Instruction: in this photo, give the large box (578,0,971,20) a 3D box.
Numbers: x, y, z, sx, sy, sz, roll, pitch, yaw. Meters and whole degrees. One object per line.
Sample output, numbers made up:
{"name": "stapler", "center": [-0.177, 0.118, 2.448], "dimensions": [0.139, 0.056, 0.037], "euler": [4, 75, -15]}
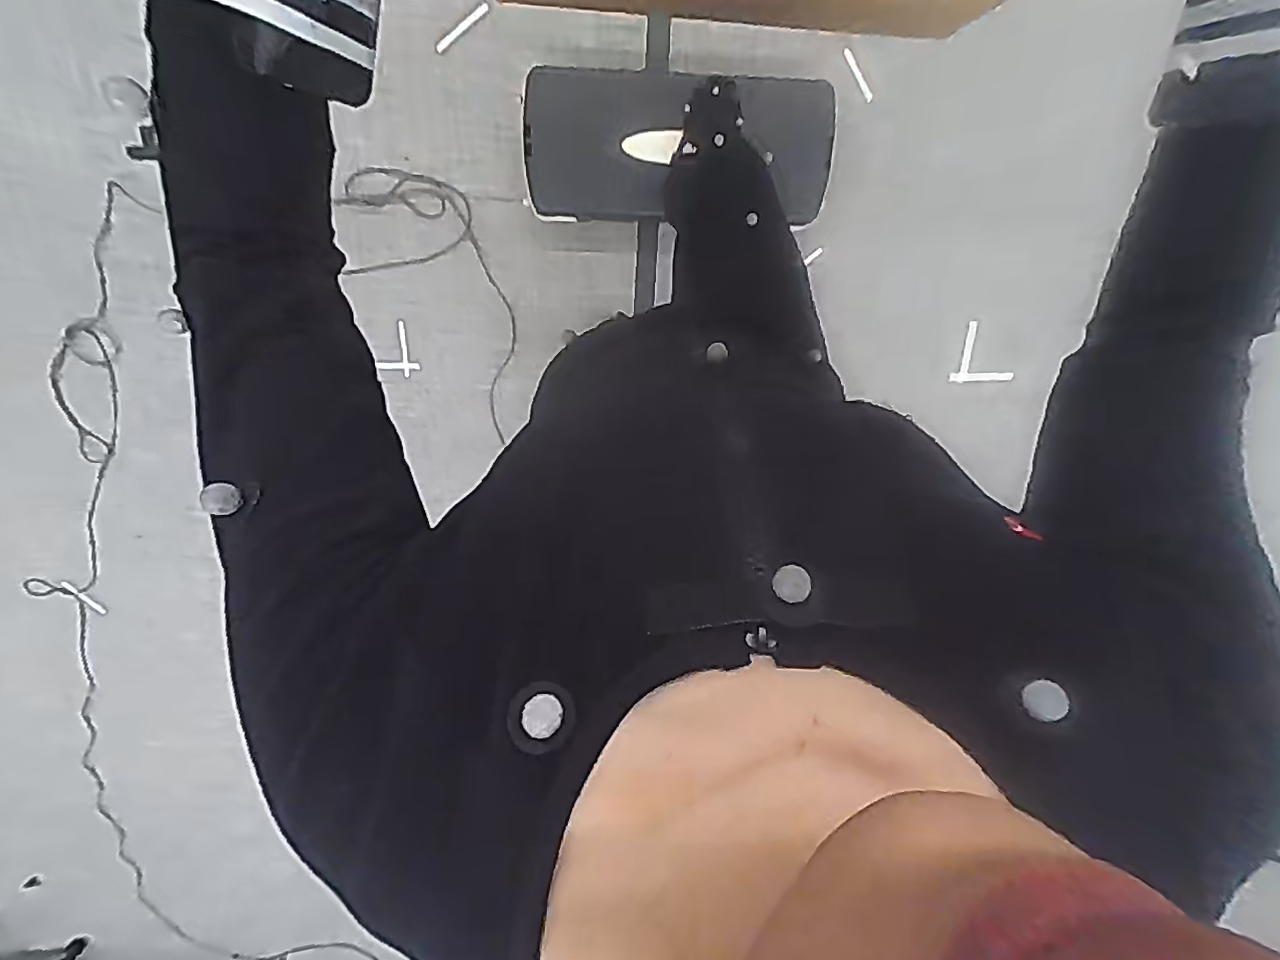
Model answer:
{"name": "large box", "center": [0.087, -0.491, 0.277], "dimensions": [0.408, 0.320, 0.320], "euler": [2, 115, -3]}
